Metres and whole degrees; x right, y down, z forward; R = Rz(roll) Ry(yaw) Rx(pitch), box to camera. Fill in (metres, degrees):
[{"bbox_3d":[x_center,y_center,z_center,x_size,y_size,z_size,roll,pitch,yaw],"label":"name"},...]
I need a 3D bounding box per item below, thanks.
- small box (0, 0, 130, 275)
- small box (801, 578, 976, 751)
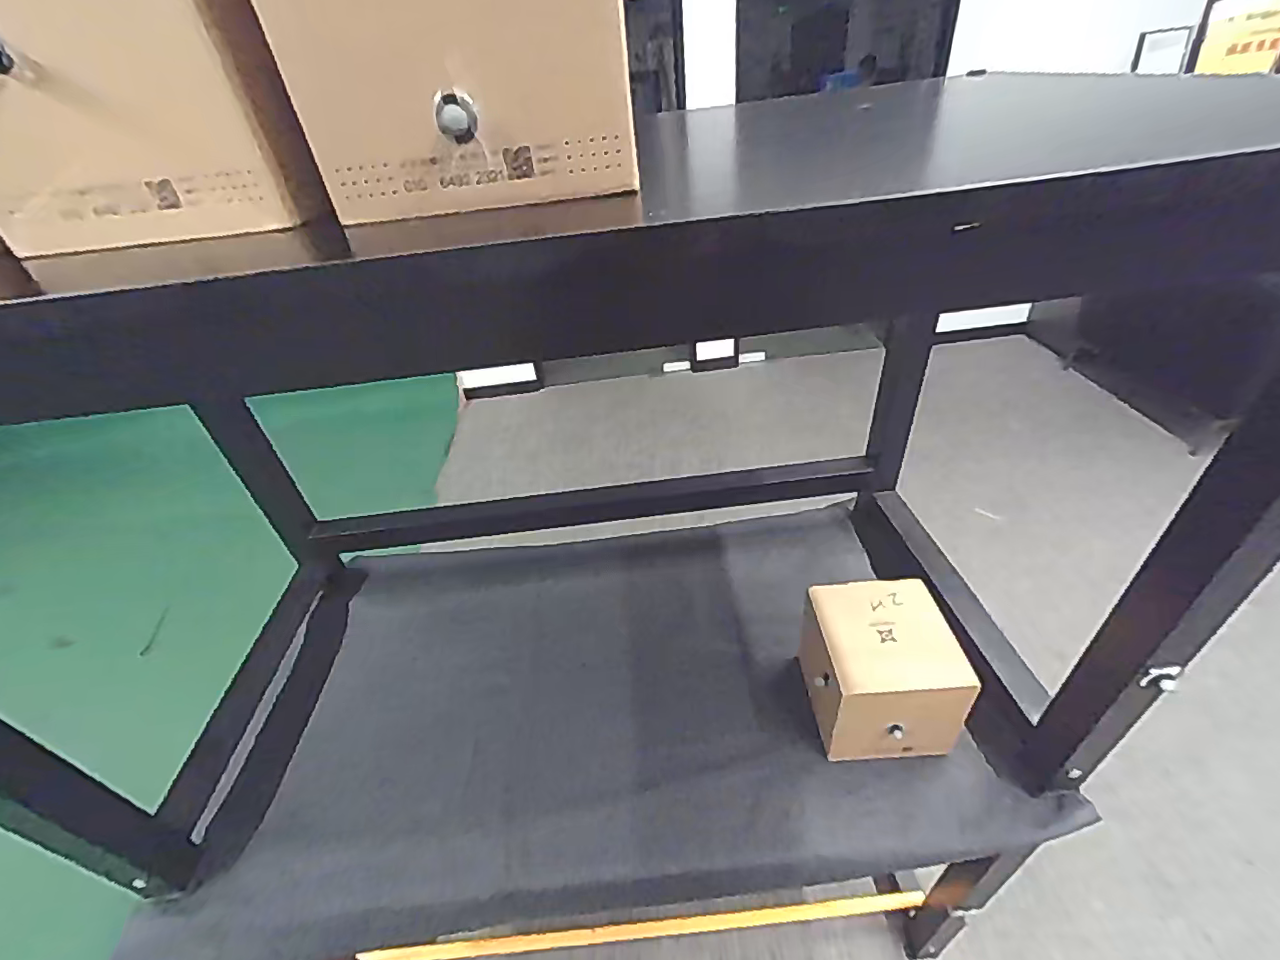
[{"bbox_3d":[-0.481,-0.220,0.329,0.168,0.176,0.179,-6,38,2],"label":"small box"},{"bbox_3d":[0.333,0.265,0.765,0.168,0.176,0.179,-4,37,3],"label":"small box"}]
